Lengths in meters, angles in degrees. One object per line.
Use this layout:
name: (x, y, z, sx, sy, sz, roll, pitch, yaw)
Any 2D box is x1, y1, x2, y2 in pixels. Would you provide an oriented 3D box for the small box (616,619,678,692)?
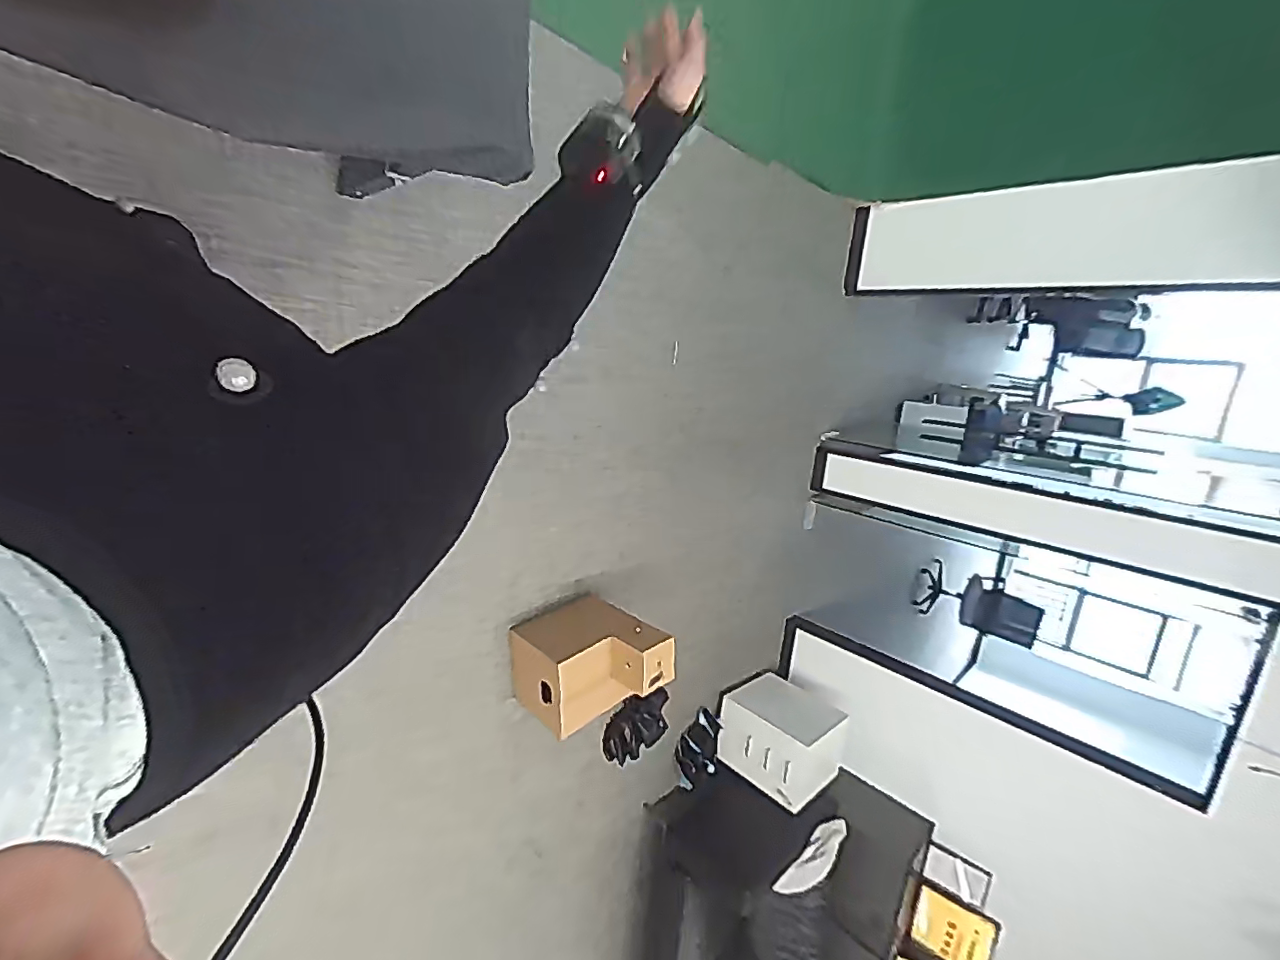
small box: (0.024, 0.638, 1.986, 0.168, 0.176, 0.179, -14, 107, -45)
